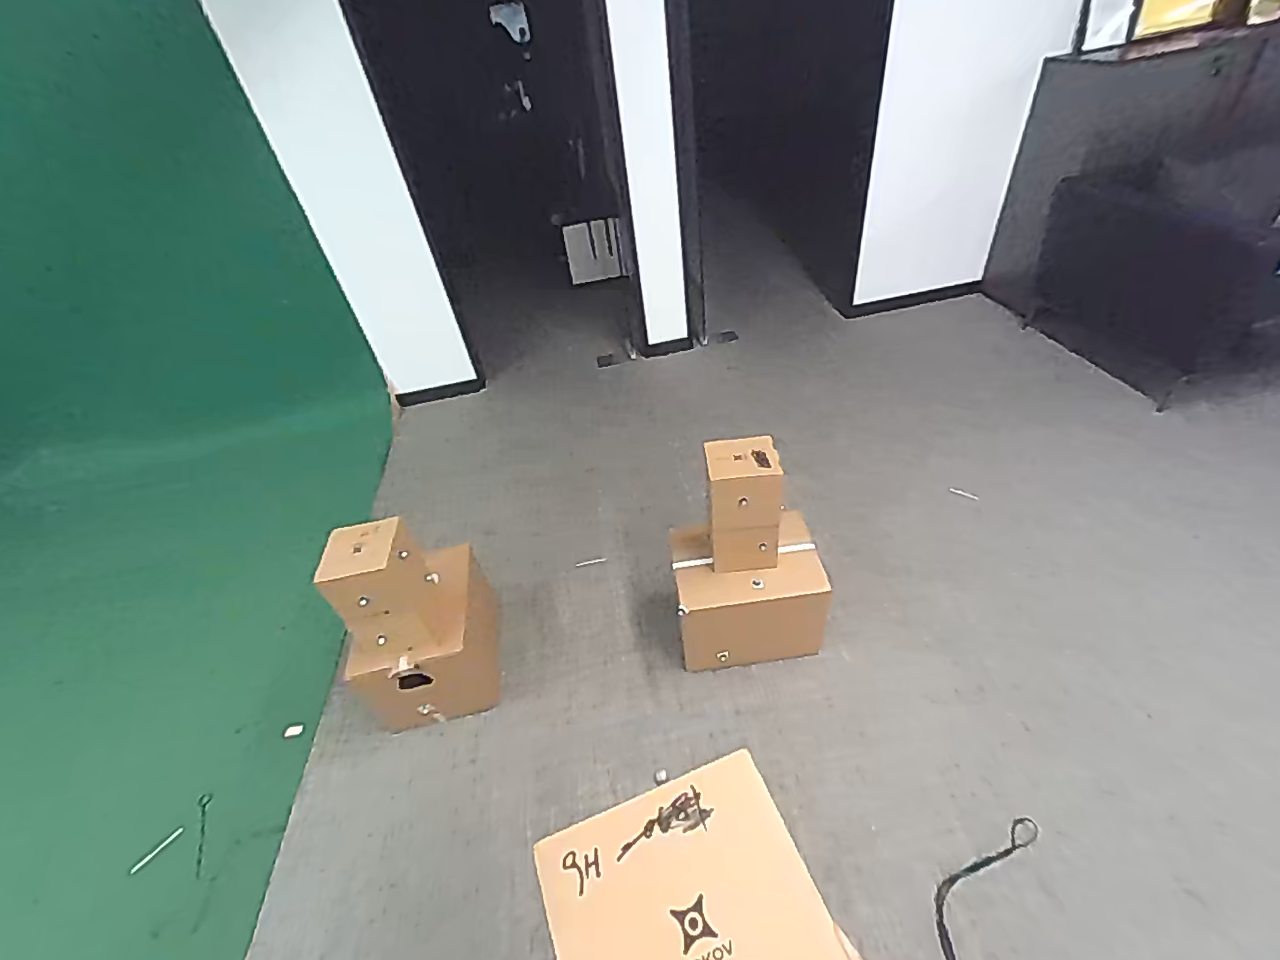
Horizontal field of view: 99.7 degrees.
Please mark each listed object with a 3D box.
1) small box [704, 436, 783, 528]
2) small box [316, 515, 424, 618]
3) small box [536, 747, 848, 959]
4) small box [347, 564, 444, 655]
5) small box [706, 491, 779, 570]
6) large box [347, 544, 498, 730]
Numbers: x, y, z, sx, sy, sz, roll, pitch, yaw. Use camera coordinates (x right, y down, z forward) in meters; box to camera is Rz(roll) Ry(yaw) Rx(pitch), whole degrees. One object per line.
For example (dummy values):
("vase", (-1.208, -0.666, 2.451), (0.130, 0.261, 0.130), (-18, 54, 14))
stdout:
("small box", (0.262, 0.007, 1.391), (0.179, 0.176, 0.168), (-6, 38, 5))
("small box", (-0.645, 0.217, 1.318), (0.168, 0.176, 0.179), (-11, 40, -2))
("small box", (0.034, 0.332, 0.395), (0.168, 0.176, 0.179), (-16, 52, -14))
("small box", (-0.633, 0.341, 1.427), (0.168, 0.176, 0.179), (-11, 40, -2))
("small box", (0.279, 0.131, 1.498), (0.179, 0.176, 0.168), (-6, 38, 4))
("large box", (-0.630, 0.471, 1.650), (0.320, 0.320, 0.408), (-12, 40, -4))
